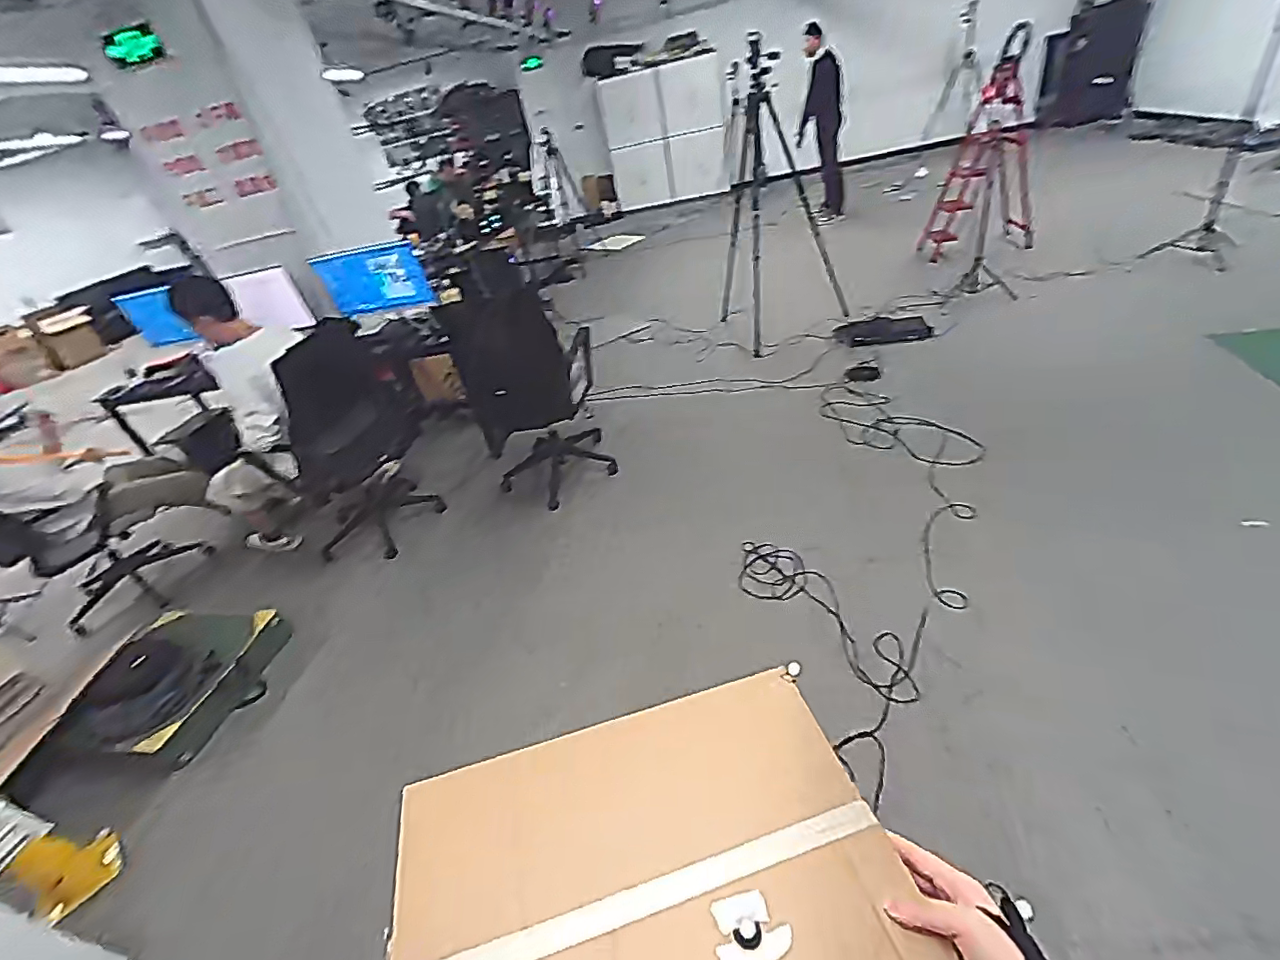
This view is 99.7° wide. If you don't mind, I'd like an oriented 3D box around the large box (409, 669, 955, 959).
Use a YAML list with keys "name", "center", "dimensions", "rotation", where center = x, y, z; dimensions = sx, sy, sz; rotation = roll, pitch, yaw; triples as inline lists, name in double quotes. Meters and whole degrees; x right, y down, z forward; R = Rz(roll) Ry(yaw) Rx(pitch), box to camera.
- name: "large box"
  center: [0.022, 0.456, 0.533]
  dimensions: [0.408, 0.320, 0.320]
  rotation: [-12, 37, -10]
